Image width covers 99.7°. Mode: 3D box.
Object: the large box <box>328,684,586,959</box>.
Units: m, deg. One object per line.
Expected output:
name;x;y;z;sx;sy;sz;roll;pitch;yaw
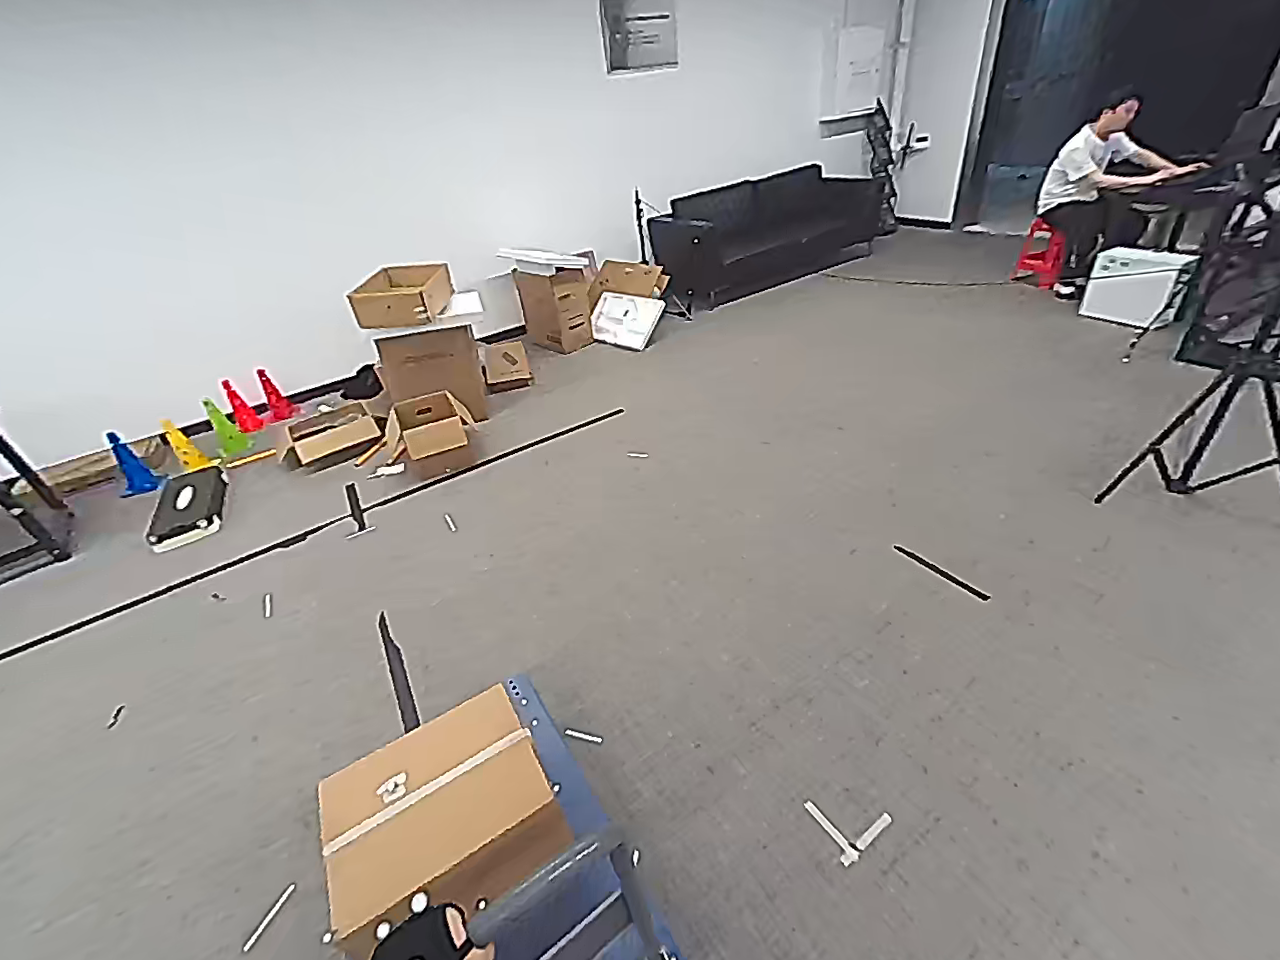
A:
large box;-0.382;0.741;1.168;0.408;0.320;0.320;-26;37;-21
